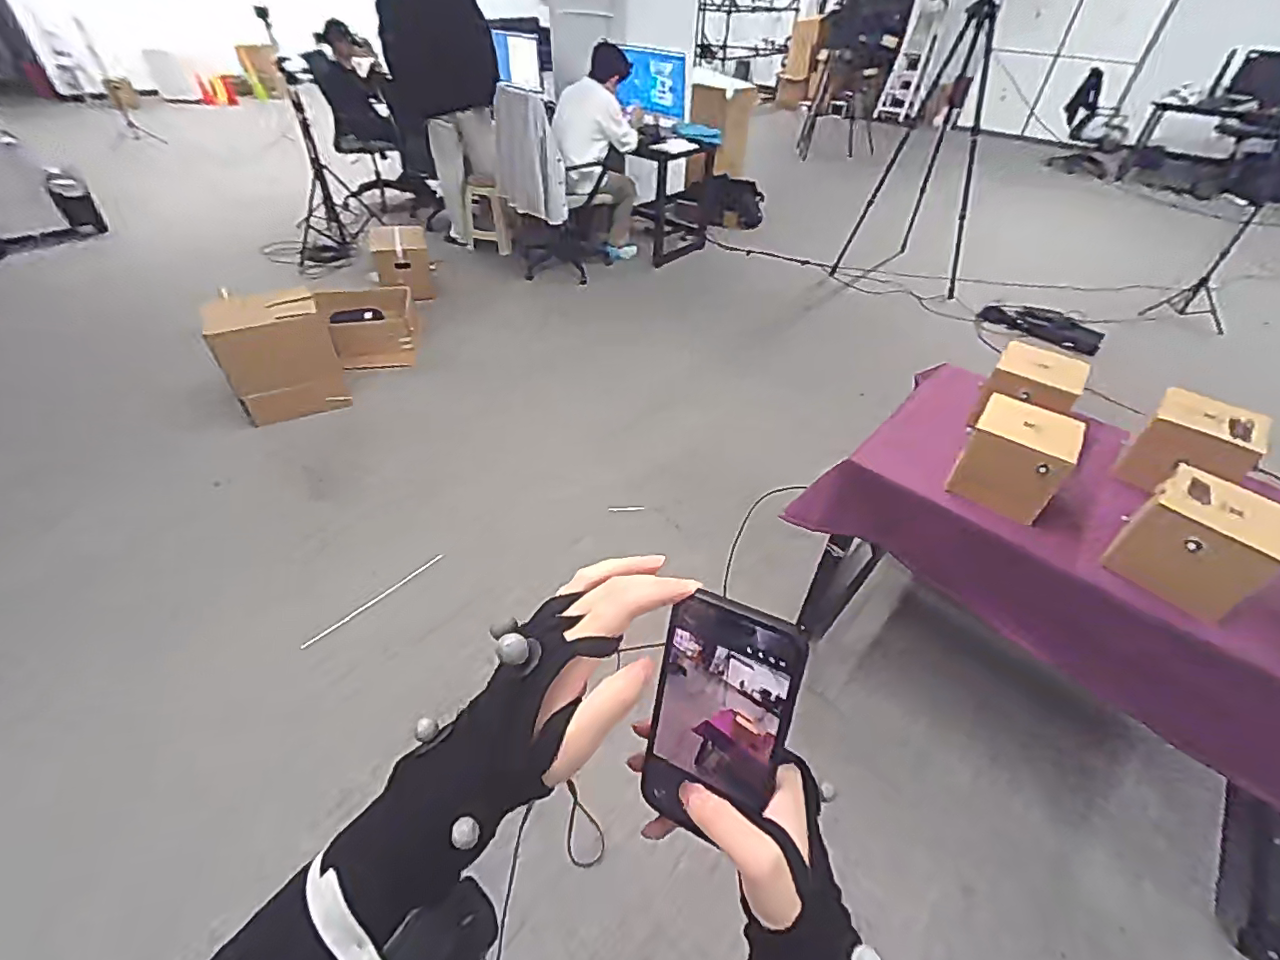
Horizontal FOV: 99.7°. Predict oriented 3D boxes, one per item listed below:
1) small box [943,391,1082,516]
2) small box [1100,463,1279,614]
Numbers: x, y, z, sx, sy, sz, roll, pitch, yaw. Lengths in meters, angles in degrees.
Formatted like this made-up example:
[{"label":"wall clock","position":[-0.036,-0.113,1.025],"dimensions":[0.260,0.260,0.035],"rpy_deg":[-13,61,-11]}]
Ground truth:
[{"label":"small box","position":[0.772,-0.054,1.133],"dimensions":[0.179,0.176,0.168],"rpy_deg":[30,49,24]},{"label":"small box","position":[0.990,0.105,0.974],"dimensions":[0.168,0.176,0.179],"rpy_deg":[-29,53,-30]}]
